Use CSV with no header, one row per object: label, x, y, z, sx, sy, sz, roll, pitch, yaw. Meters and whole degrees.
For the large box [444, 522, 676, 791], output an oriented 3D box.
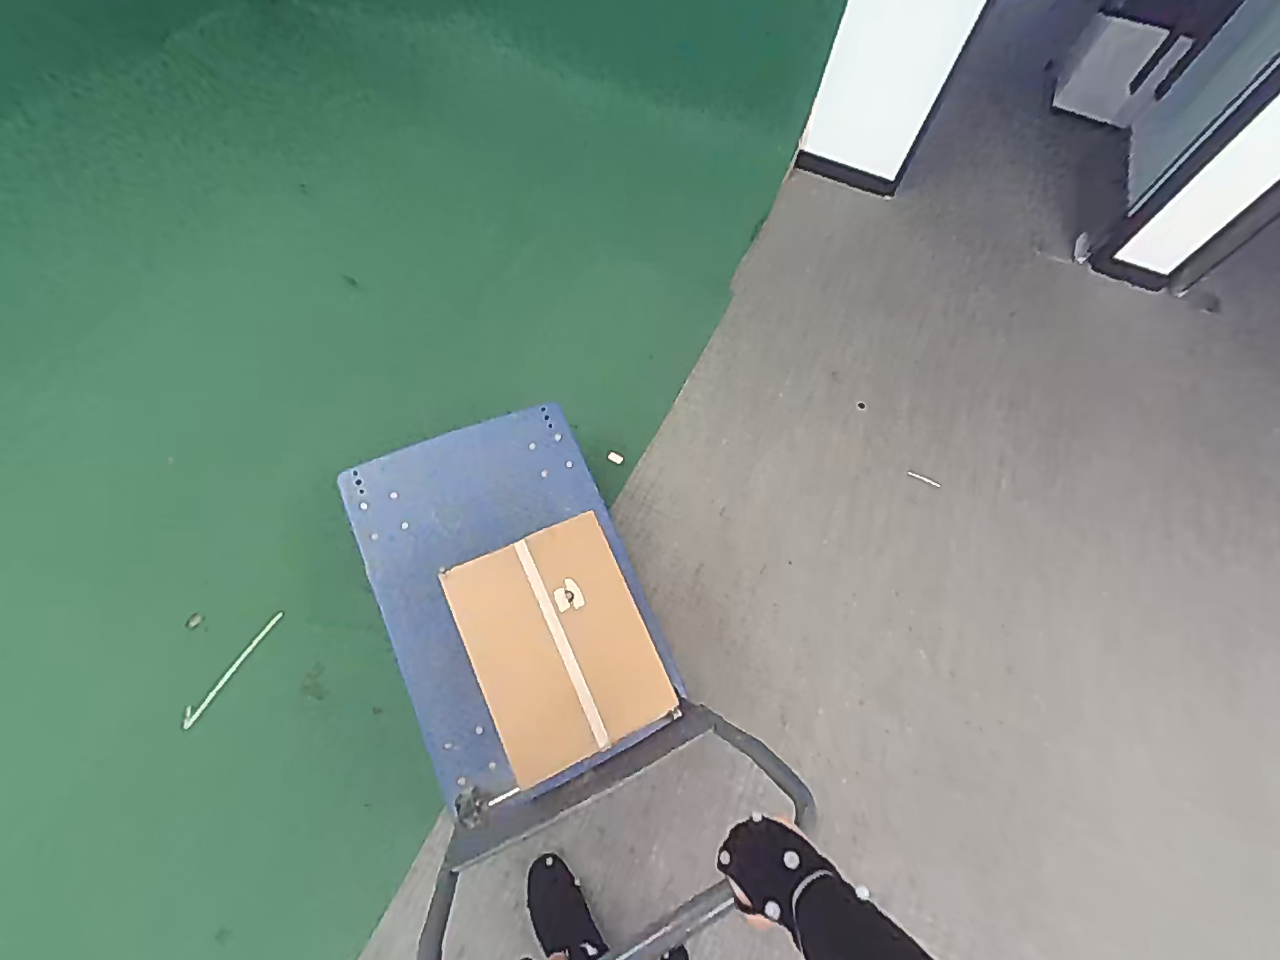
large box,-0.171,0.355,1.152,0.320,0.320,0.408,-22,79,-16
